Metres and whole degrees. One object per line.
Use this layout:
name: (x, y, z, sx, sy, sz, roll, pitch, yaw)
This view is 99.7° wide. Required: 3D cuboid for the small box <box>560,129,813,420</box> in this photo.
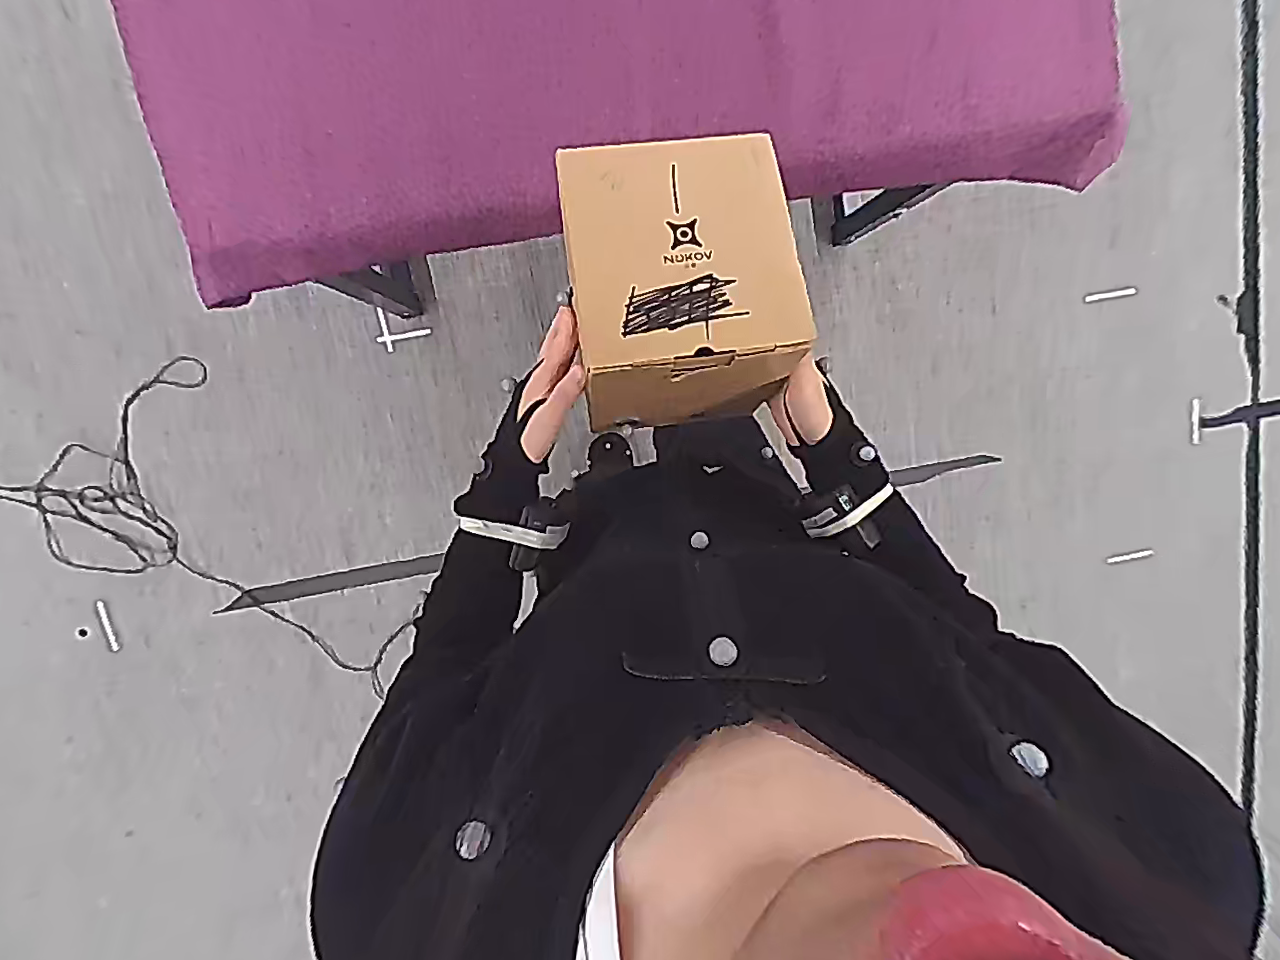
small box: (0.027, -0.158, 0.469, 0.168, 0.176, 0.179, -8, 80, -6)
